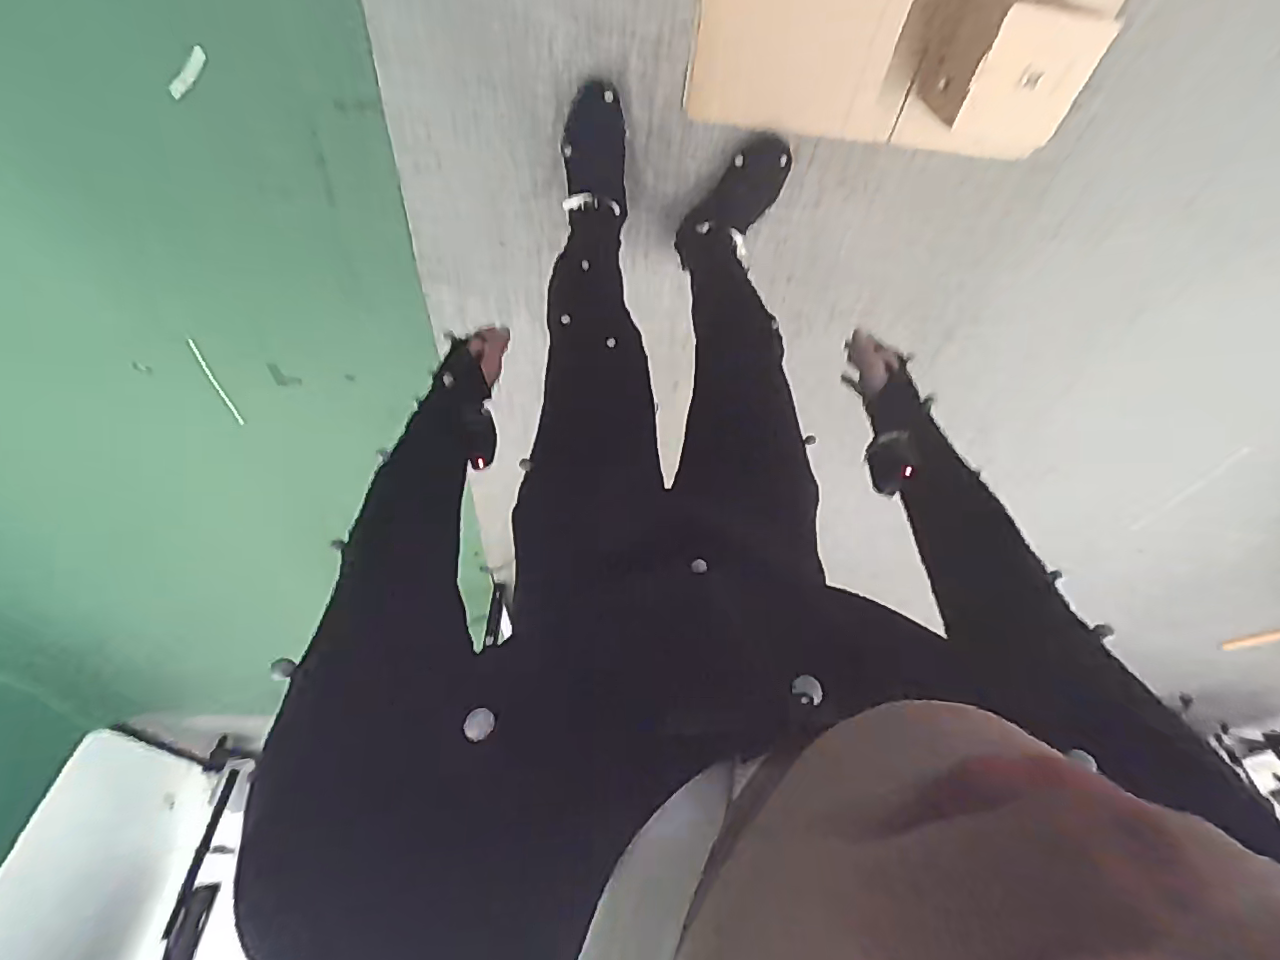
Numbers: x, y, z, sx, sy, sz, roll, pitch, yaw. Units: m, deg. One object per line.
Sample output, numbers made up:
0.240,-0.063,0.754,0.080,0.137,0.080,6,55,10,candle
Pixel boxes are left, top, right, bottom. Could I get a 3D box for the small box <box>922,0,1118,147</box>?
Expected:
0.603,-0.680,0.890,0.179,0.176,0.168,5,140,-5,small box
